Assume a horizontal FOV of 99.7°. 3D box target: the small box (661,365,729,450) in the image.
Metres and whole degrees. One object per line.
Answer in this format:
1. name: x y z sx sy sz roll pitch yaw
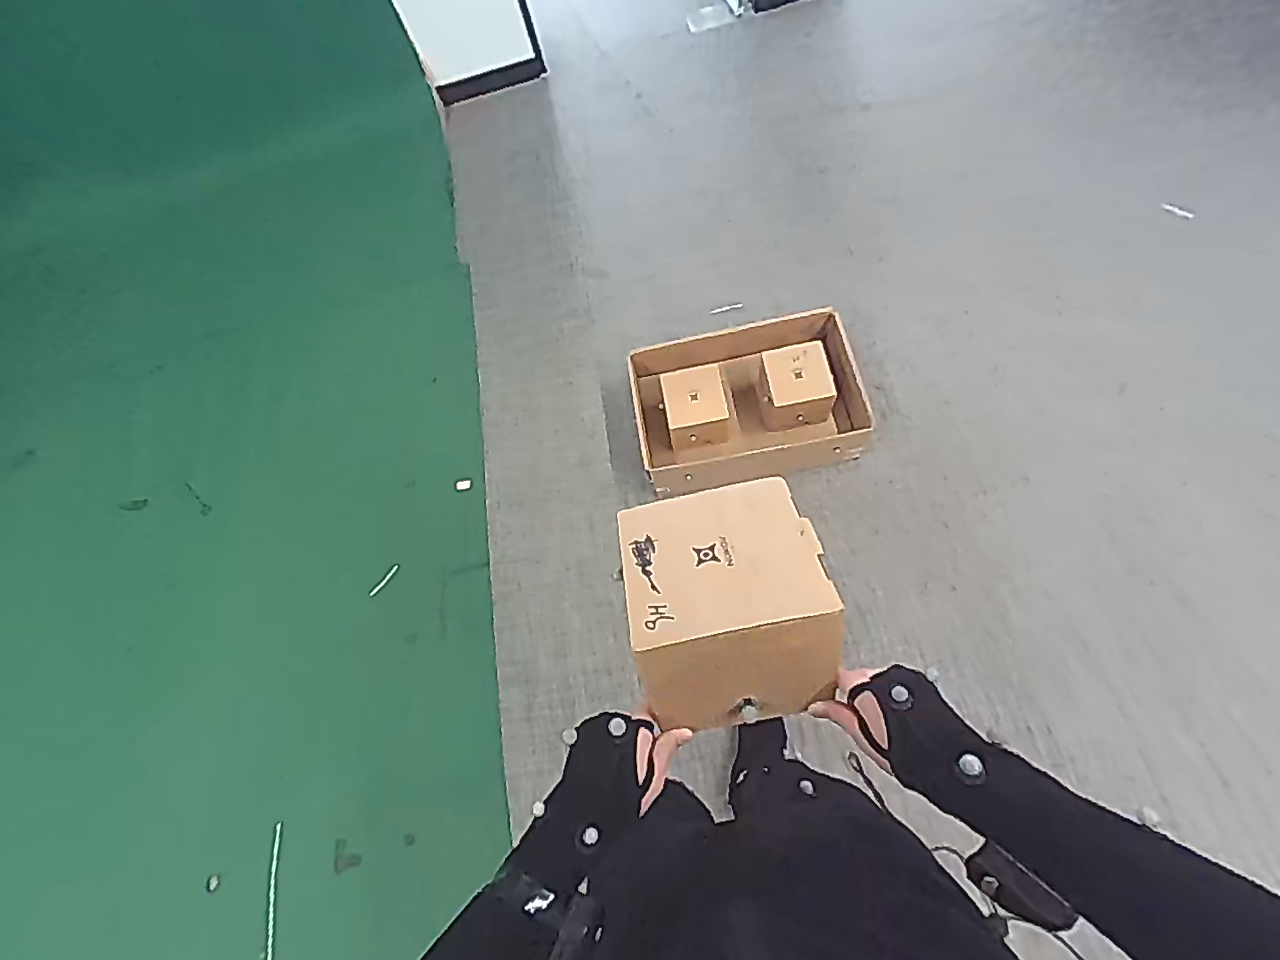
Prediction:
1. small box: 0.162 -0.199 1.553 0.168 0.176 0.179 -11 68 5

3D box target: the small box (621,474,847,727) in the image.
1. small box: 0.084 0.121 0.540 0.179 0.176 0.168 -11 40 2

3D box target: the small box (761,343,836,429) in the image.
1. small box: 0.441 -0.256 1.527 0.168 0.176 0.179 -10 69 6
